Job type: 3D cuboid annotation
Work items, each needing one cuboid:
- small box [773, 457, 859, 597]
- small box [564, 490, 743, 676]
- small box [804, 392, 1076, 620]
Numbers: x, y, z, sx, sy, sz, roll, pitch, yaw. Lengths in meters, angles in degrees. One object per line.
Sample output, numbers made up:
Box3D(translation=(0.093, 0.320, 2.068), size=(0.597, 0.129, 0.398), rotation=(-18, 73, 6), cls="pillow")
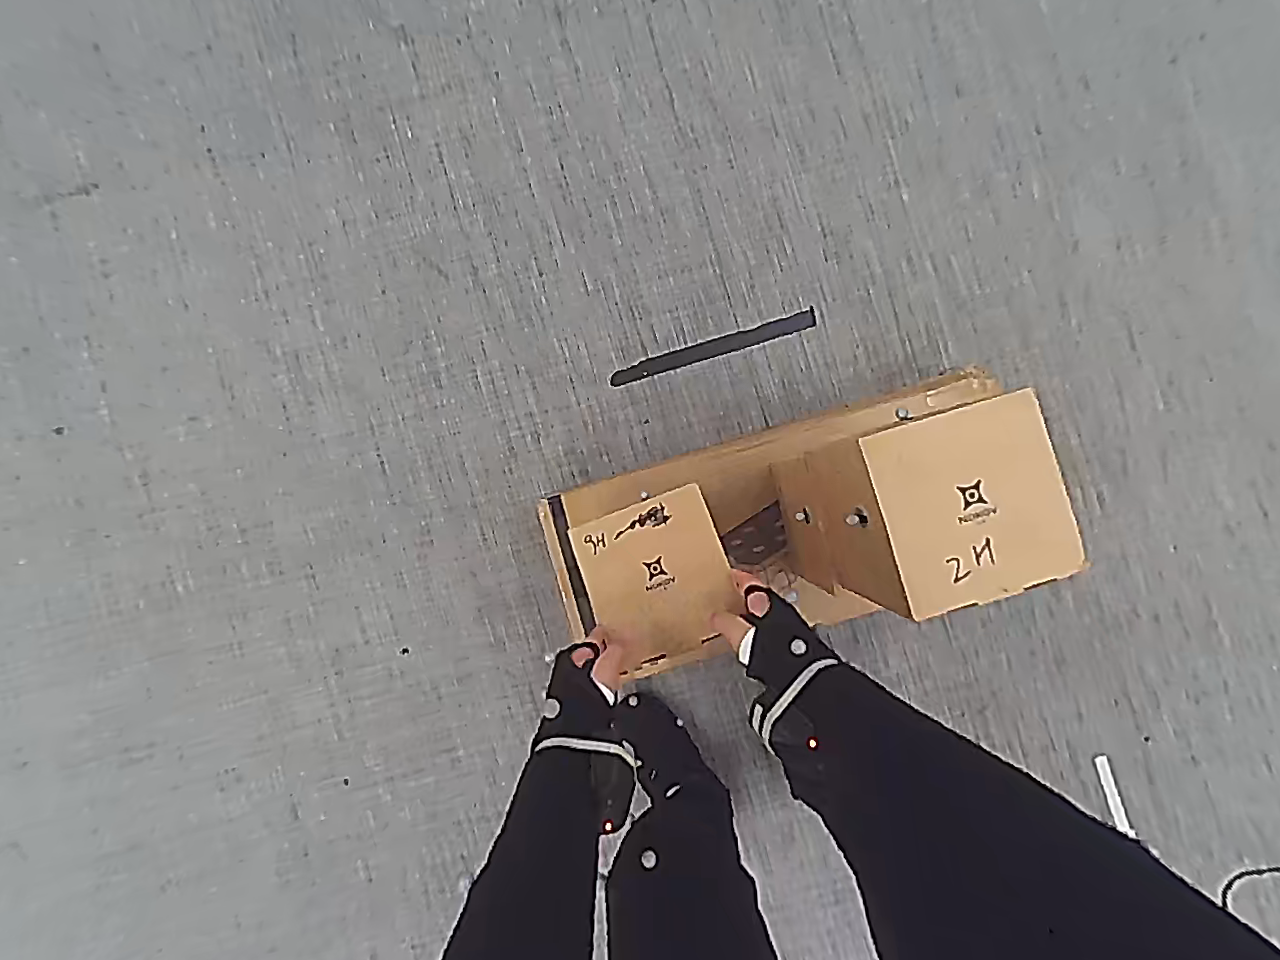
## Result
Box3D(translation=(0.291, 0.043, 0.734), size=(0.168, 0.176, 0.179), rotation=(-12, 90, 1), cls="small box")
Box3D(translation=(0.023, 0.124, 0.699), size=(0.168, 0.176, 0.179), rotation=(-21, 82, 4), cls="small box")
Box3D(translation=(0.292, 0.025, 0.568), size=(0.168, 0.176, 0.179), rotation=(-17, 89, 0), cls="small box")
